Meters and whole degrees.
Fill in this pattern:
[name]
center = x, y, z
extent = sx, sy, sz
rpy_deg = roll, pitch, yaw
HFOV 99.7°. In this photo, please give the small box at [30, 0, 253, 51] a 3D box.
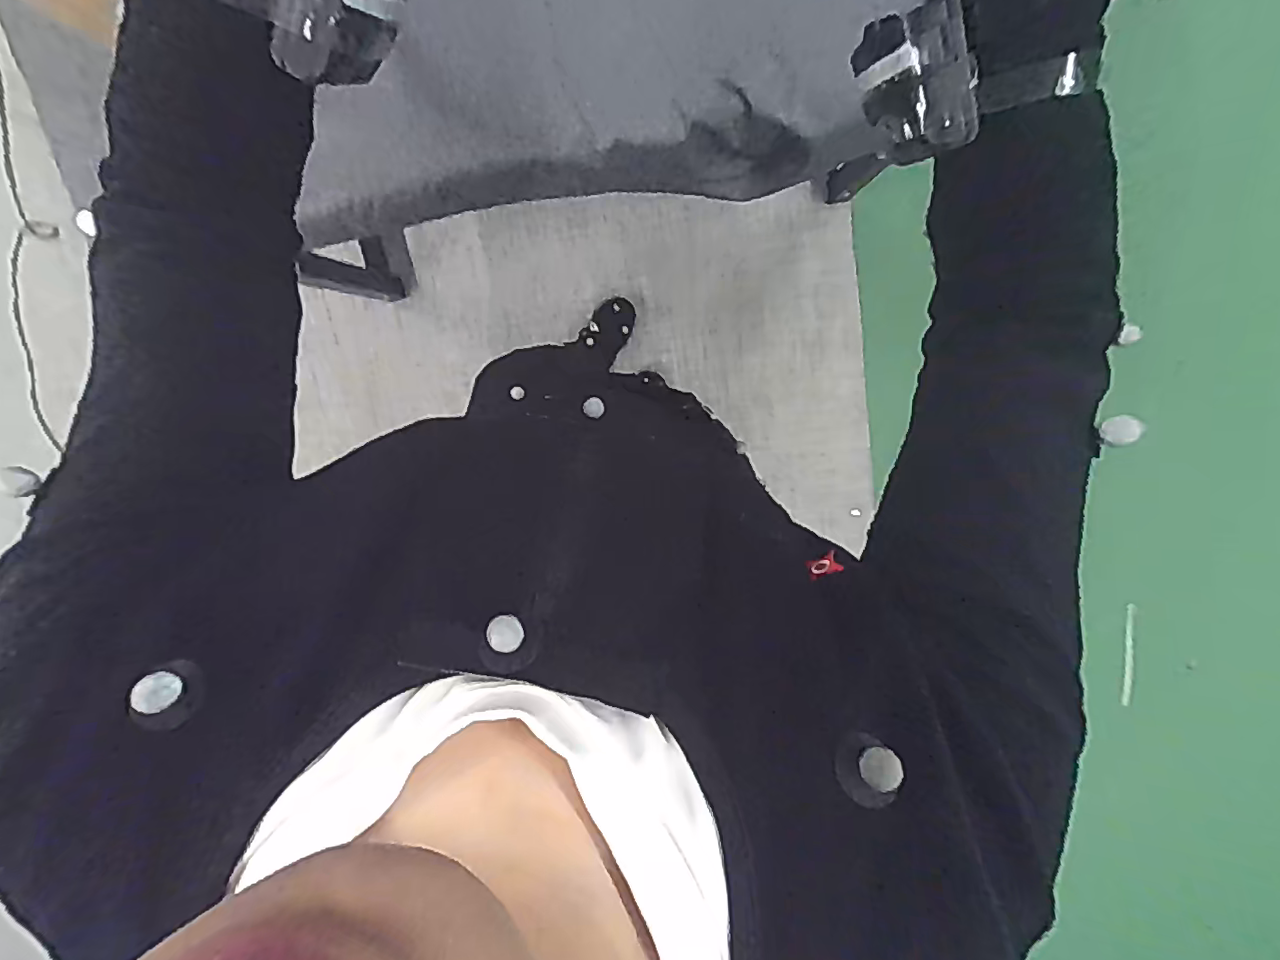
[small box]
center = -0.541, -0.576, 0.543
extent = 0.168, 0.176, 0.179
rpy_deg = -12, 102, 5
